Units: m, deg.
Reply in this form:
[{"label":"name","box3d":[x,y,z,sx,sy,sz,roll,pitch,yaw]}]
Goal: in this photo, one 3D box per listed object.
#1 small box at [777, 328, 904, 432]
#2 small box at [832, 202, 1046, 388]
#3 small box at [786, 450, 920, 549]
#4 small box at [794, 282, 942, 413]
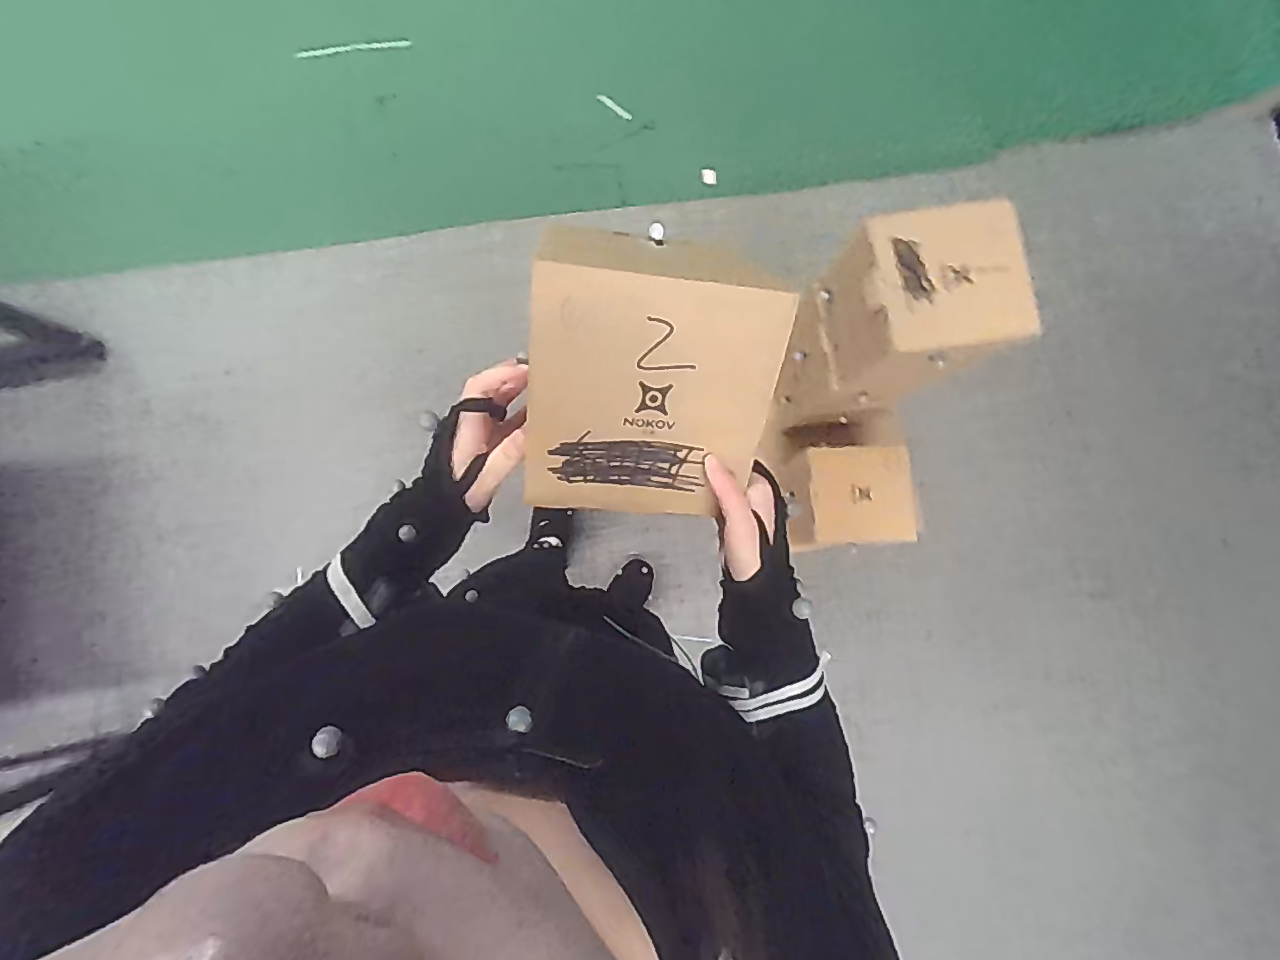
[{"label":"small box","box3d":[0.367,-0.191,1.027,0.179,0.176,0.168,-6,85,-1]},{"label":"small box","box3d":[0.366,-0.225,0.701,0.179,0.176,0.168,-8,85,-2]},{"label":"small box","box3d":[0.382,0.040,0.995,0.179,0.176,0.168,-1,81,-1]},{"label":"small box","box3d":[0.356,-0.211,0.865,0.179,0.176,0.168,-8,85,0]}]
